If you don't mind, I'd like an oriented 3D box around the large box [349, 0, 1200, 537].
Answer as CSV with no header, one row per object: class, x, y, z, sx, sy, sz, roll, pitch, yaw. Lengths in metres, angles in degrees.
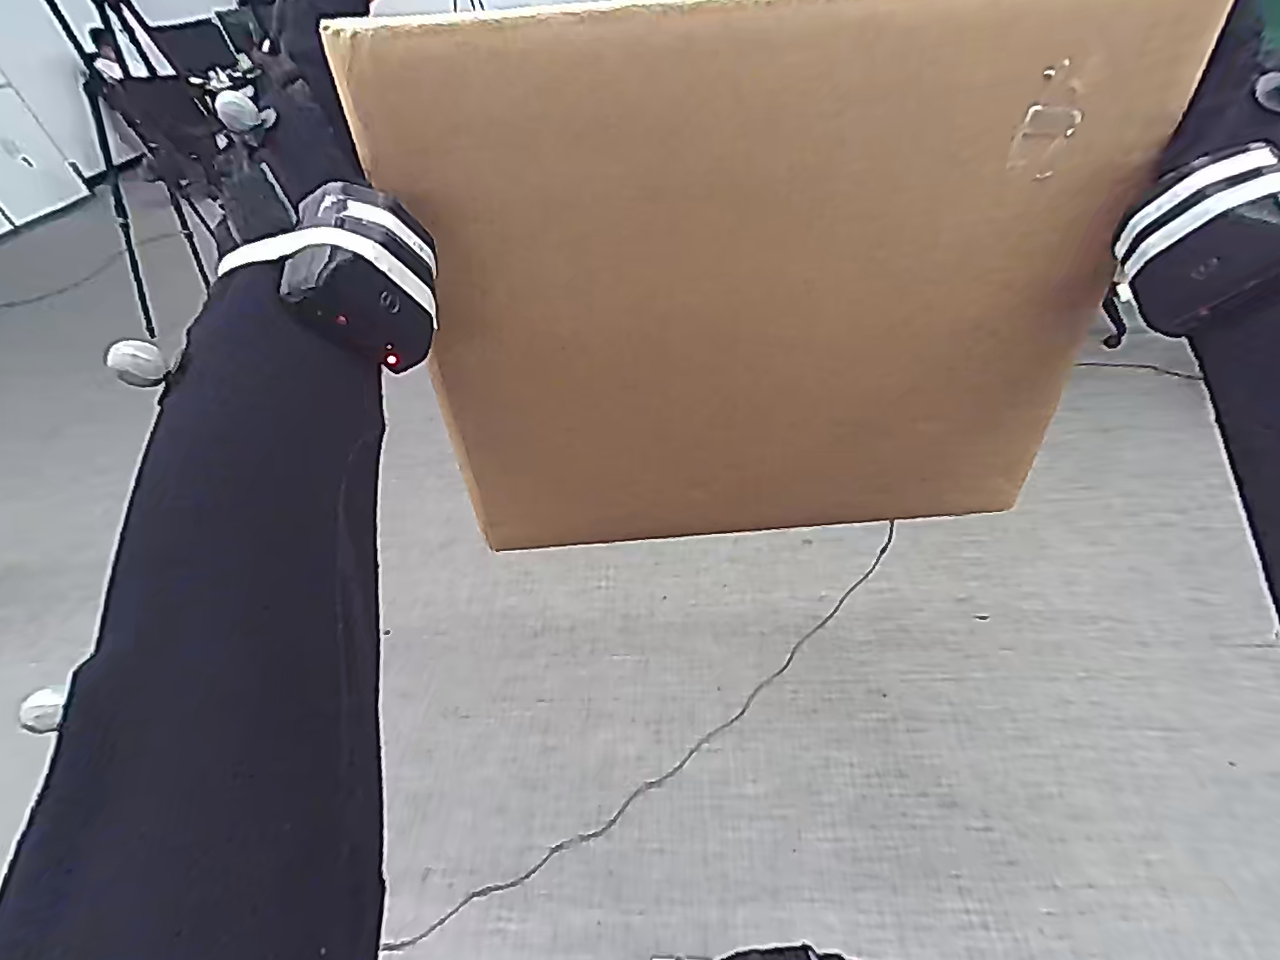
large box,0.064,-0.177,0.448,0.408,0.320,0.320,-4,36,-1
